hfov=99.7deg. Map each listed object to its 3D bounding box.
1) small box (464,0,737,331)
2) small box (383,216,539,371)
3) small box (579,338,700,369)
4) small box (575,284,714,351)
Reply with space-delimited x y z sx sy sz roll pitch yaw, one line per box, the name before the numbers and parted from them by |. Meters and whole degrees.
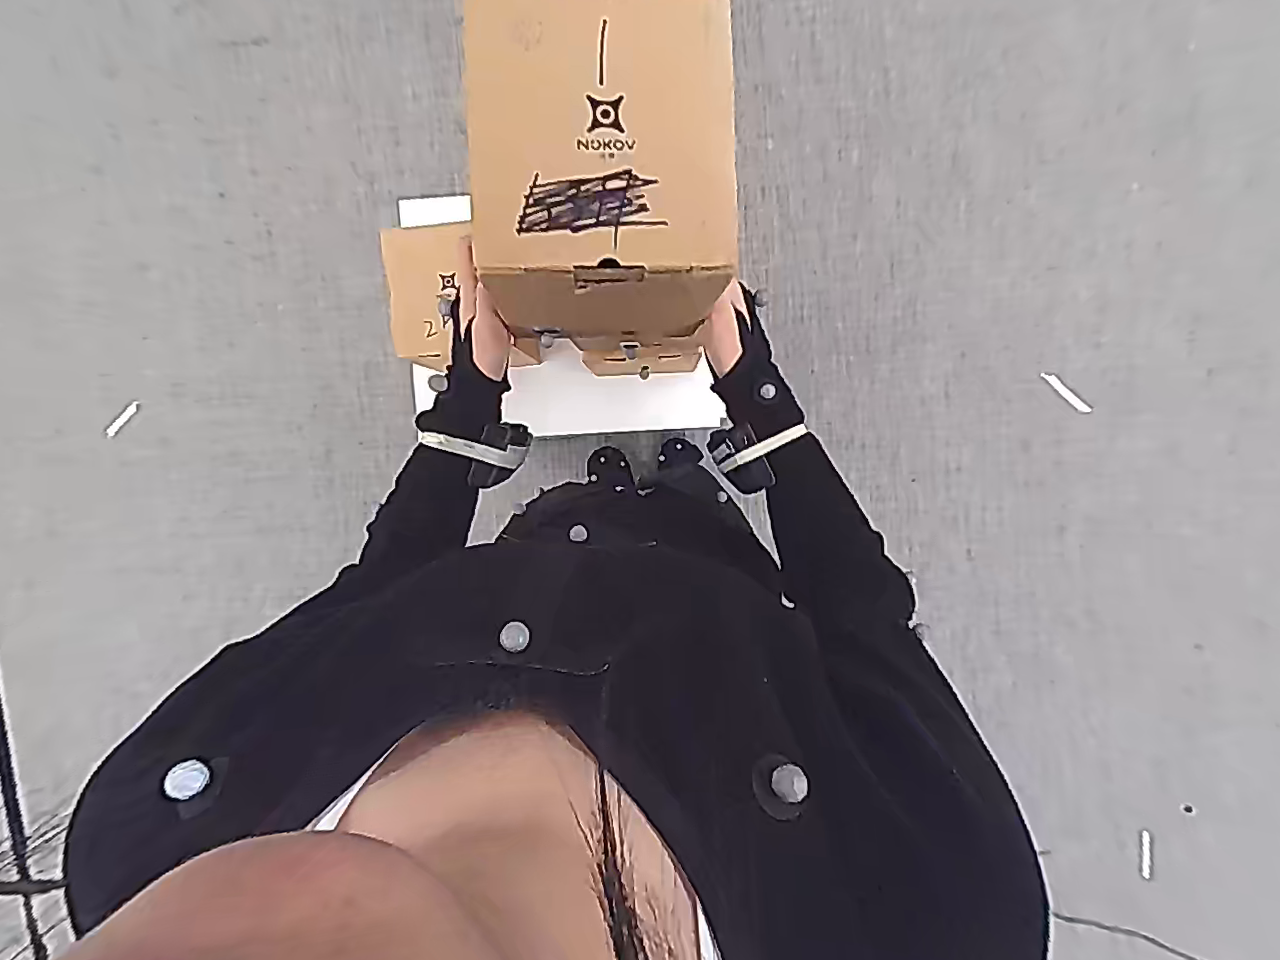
small box | -0.028 -0.215 0.406 0.168 0.176 0.179 -2 91 -6
small box | -0.253 -0.267 0.803 0.168 0.176 0.179 -5 95 2
small box | 0.001 -0.258 0.795 0.168 0.176 0.179 -2 95 2
small box | -0.004 -0.257 0.632 0.168 0.176 0.179 -3 94 4
